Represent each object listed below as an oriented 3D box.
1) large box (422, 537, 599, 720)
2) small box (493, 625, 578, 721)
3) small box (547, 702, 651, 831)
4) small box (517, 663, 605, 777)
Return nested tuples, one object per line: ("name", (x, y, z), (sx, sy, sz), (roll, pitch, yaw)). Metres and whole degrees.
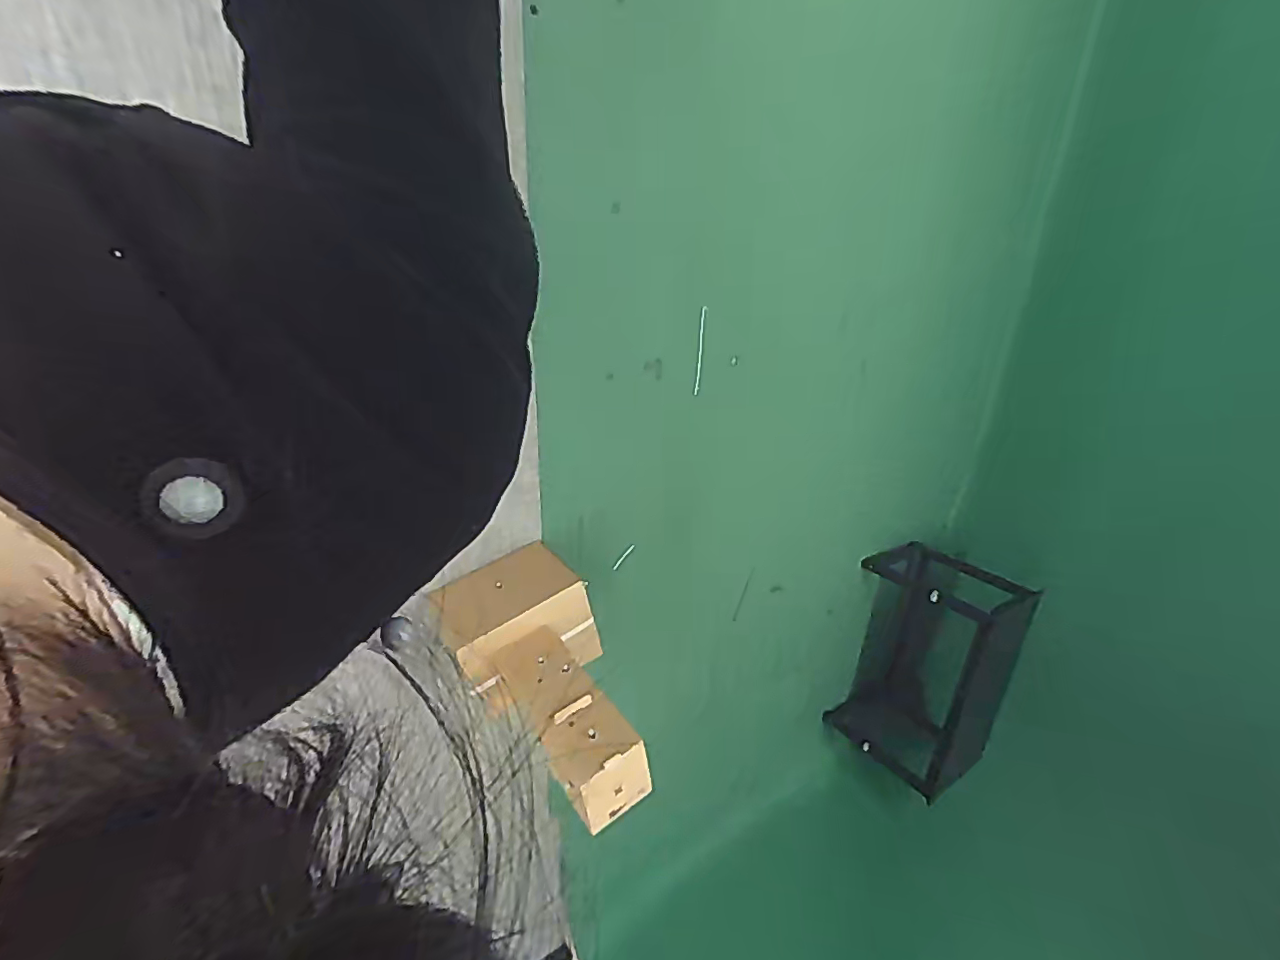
("large box", (-0.399, 0.443, 1.693), (0.408, 0.320, 0.320), (-27, 124, -27))
("small box", (-0.281, 0.534, 1.497), (0.179, 0.176, 0.168), (-23, 120, -28))
("small box", (-0.097, 0.646, 1.249), (0.168, 0.176, 0.179), (-22, 119, -28))
("small box", (-0.195, 0.593, 1.370), (0.168, 0.176, 0.179), (-21, 120, -29))
